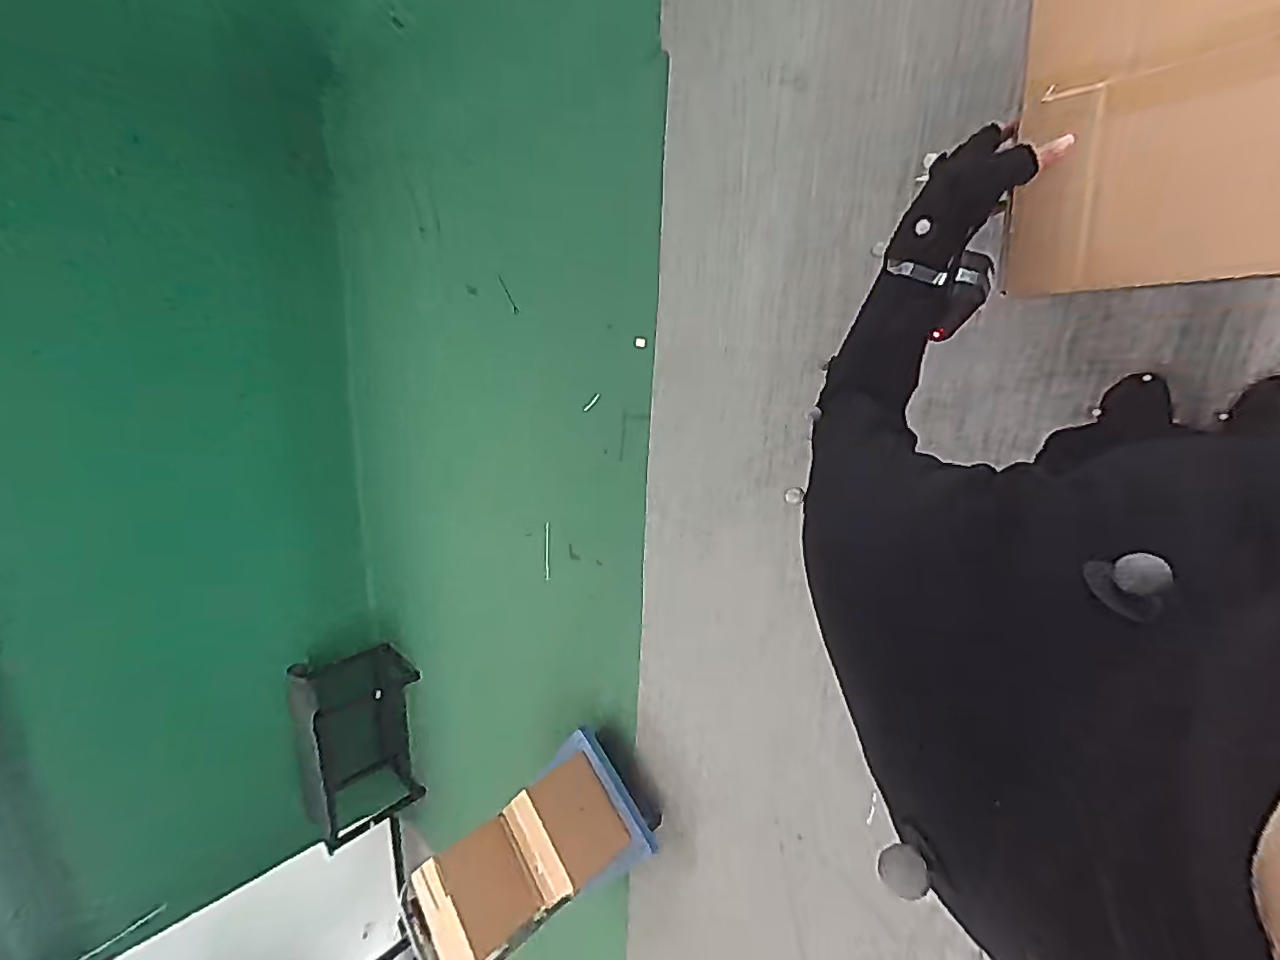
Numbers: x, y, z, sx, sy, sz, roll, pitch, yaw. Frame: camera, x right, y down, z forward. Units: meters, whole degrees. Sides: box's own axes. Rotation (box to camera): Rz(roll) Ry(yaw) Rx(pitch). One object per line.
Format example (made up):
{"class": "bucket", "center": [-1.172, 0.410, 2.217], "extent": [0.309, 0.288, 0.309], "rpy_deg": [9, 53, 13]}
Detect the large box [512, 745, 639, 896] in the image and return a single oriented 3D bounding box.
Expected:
{"class": "large box", "center": [-0.281, 1.437, 2.304], "extent": [0.408, 0.320, 0.320], "rpy_deg": [52, 132, 22]}
